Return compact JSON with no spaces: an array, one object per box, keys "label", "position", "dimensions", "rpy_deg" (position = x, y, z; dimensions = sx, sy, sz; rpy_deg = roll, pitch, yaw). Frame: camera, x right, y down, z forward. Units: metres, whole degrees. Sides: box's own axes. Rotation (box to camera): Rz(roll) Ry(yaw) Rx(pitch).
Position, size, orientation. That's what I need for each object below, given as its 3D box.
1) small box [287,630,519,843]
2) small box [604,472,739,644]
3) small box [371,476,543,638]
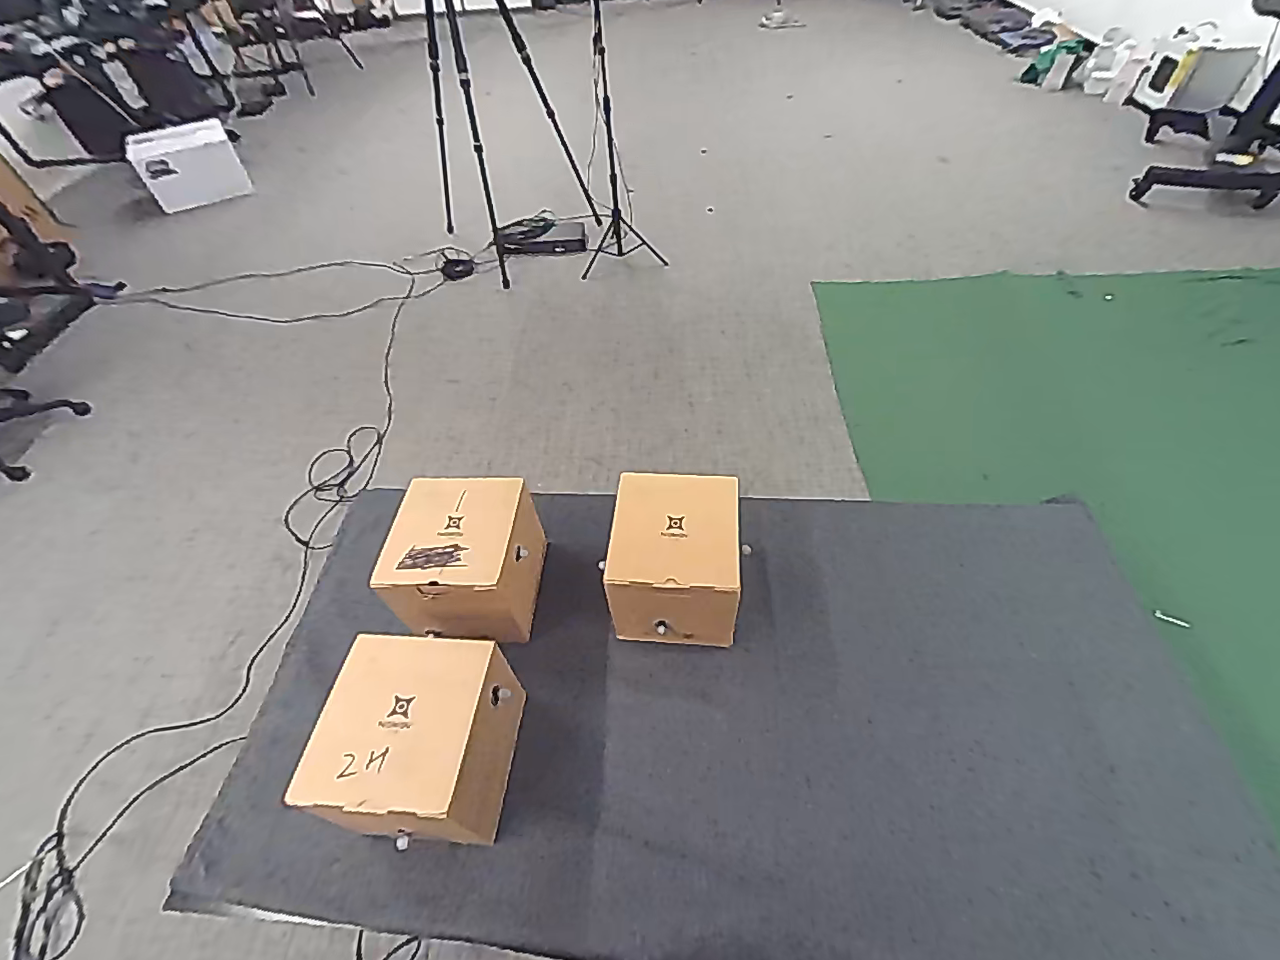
[{"label":"small box","position":[-0.249,0.295,0.624],"dimensions":[0.168,0.176,0.179],"rpy_deg":[2,49,5]},{"label":"small box","position":[0.048,0.111,0.762],"dimensions":[0.168,0.176,0.179],"rpy_deg":[3,52,6]},{"label":"small box","position":[-0.244,0.113,0.776],"dimensions":[0.168,0.176,0.179],"rpy_deg":[1,50,4]}]
